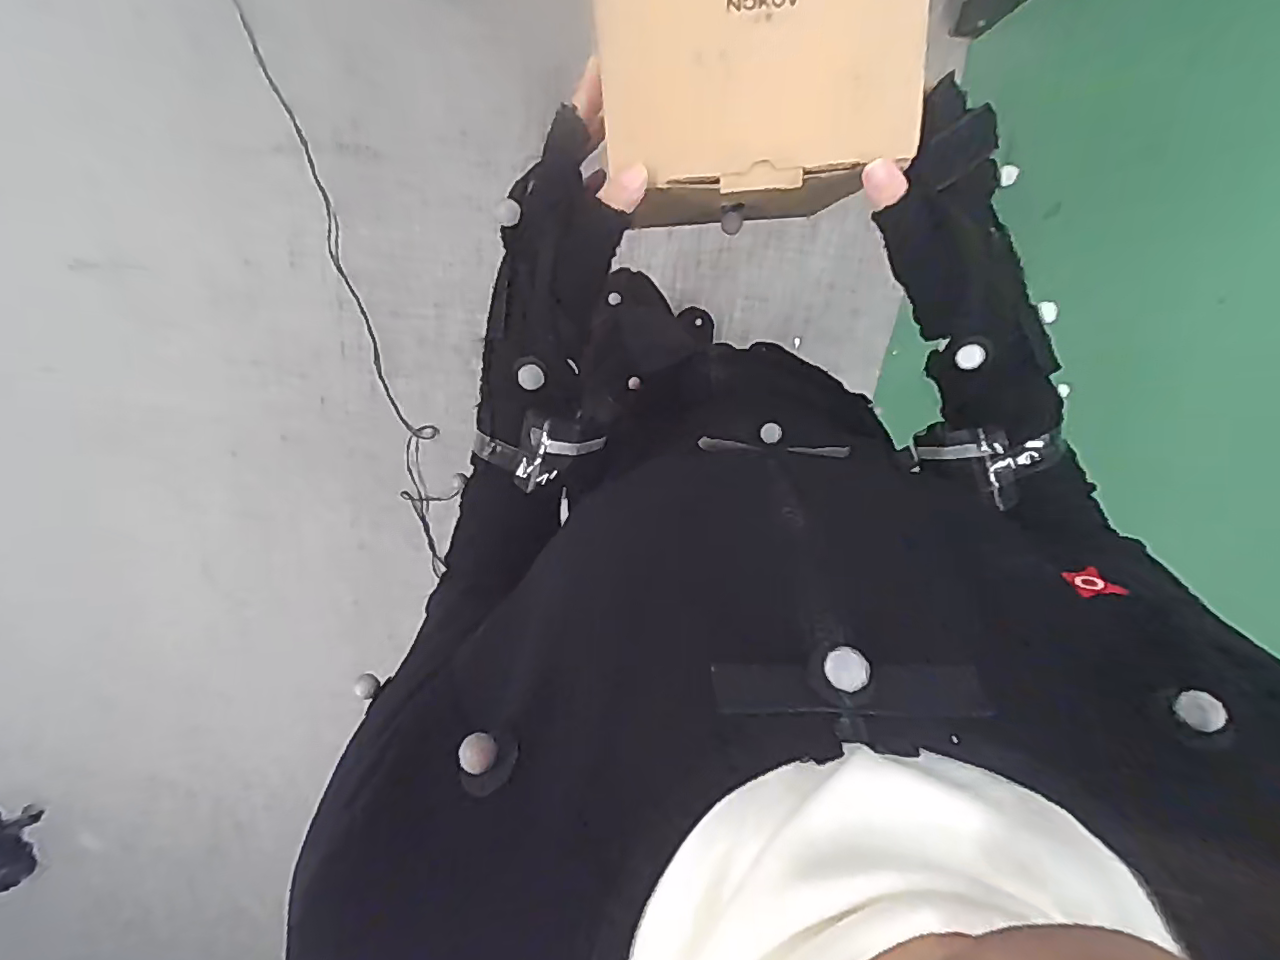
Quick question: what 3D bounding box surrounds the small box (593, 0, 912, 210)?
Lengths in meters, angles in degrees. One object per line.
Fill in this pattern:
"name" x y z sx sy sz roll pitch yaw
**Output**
"small box" 0.057 -0.281 0.348 0.168 0.176 0.179 -5 109 1
